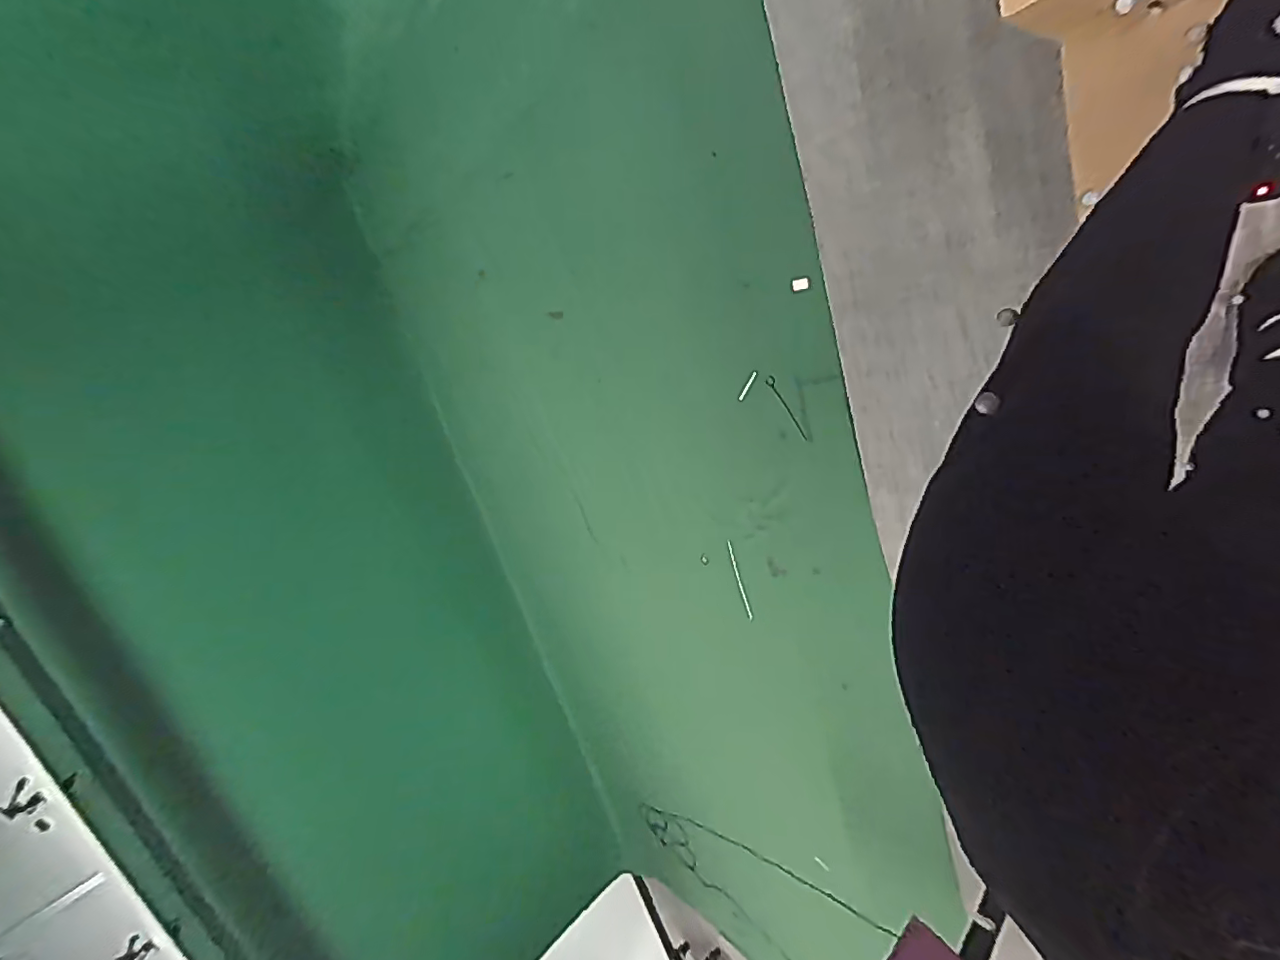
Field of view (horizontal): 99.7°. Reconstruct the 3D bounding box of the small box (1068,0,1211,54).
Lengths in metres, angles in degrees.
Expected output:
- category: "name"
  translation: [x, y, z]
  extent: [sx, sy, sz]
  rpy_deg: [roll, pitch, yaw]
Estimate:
- category: "small box"
  translation: [0.579, -0.636, 0.620]
  extent: [0.168, 0.176, 0.179]
  rpy_deg: [1, 110, 52]
